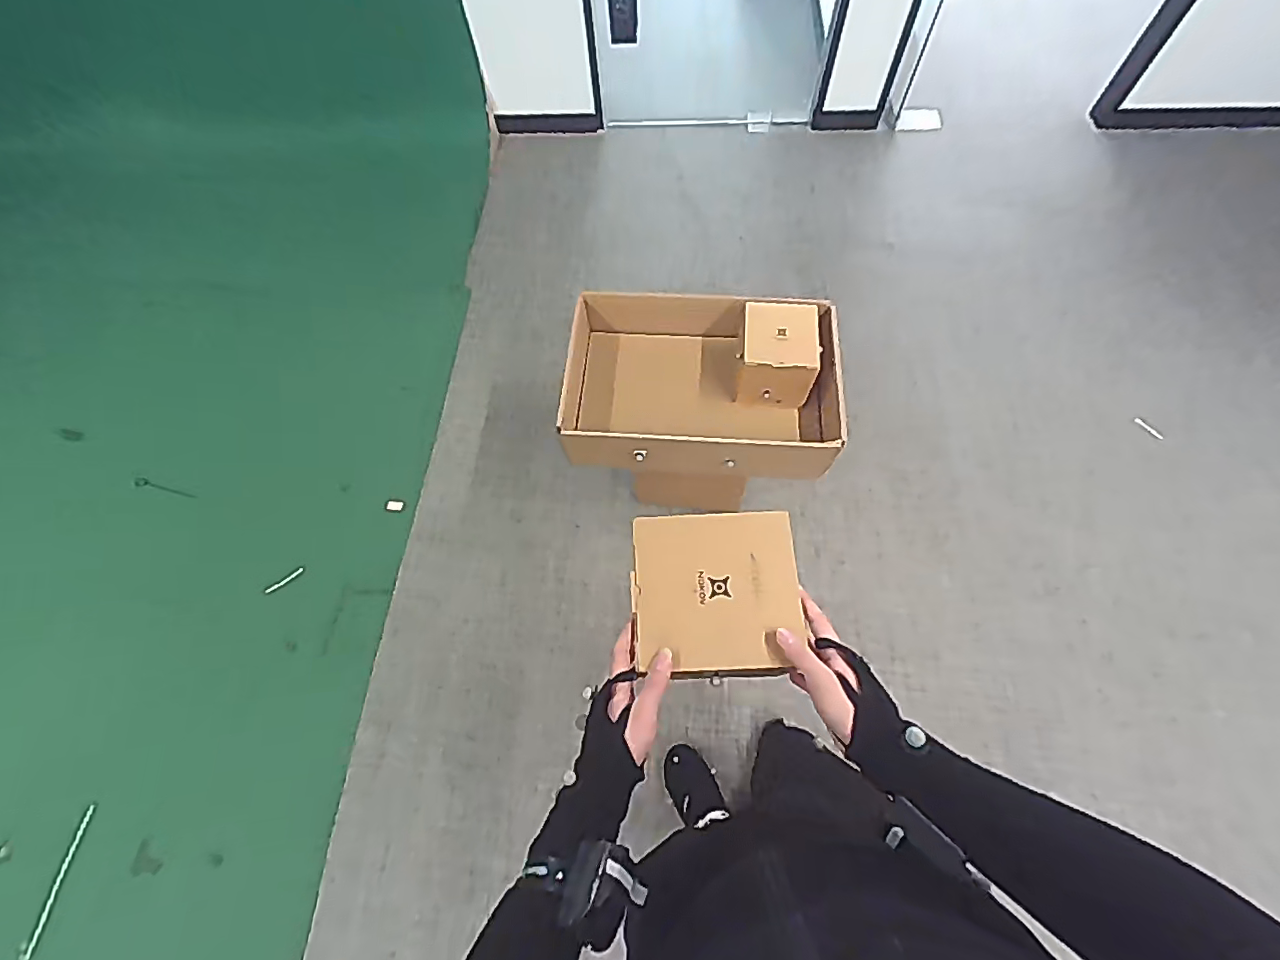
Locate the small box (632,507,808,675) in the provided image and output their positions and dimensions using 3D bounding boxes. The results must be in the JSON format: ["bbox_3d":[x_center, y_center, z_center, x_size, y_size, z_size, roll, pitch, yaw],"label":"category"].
[{"bbox_3d":[0.084,0.139,0.641,0.179,0.176,0.168,-2,68,2],"label":"small box"}]

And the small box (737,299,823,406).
[{"bbox_3d":[0.325,-0.298,1.277,0.168,0.176,0.179,5,67,4],"label":"small box"}]
